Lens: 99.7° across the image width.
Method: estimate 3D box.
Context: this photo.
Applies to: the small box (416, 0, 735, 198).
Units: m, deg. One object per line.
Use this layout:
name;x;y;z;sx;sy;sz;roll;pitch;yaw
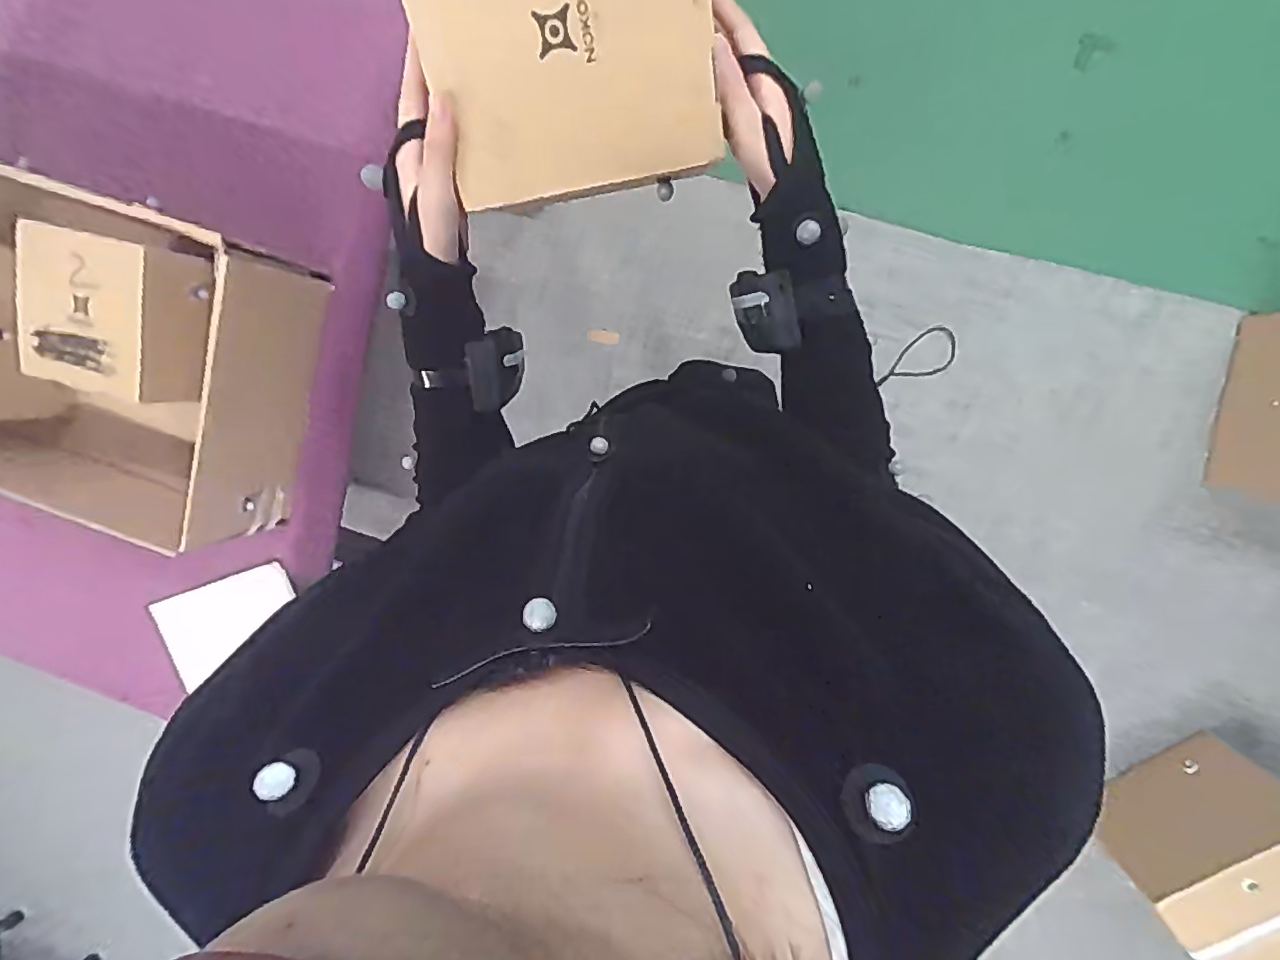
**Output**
small box;-0.038;-0.302;0.378;0.179;0.176;0.168;-9;117;4
